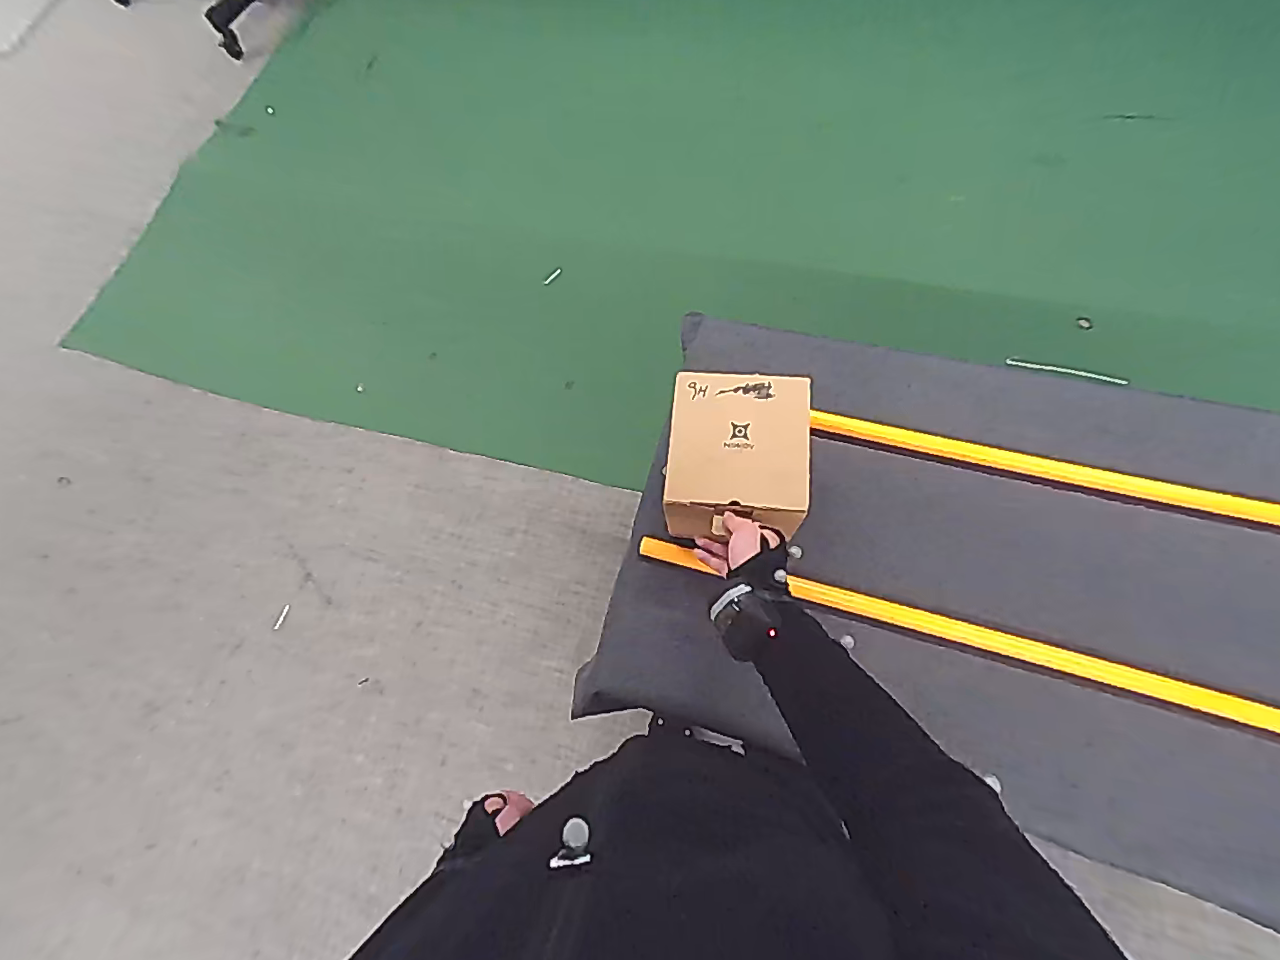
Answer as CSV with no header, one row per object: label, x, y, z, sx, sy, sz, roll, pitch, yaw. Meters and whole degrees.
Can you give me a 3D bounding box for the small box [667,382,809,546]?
small box,0.130,-0.013,0.724,0.168,0.176,0.179,1,69,9
